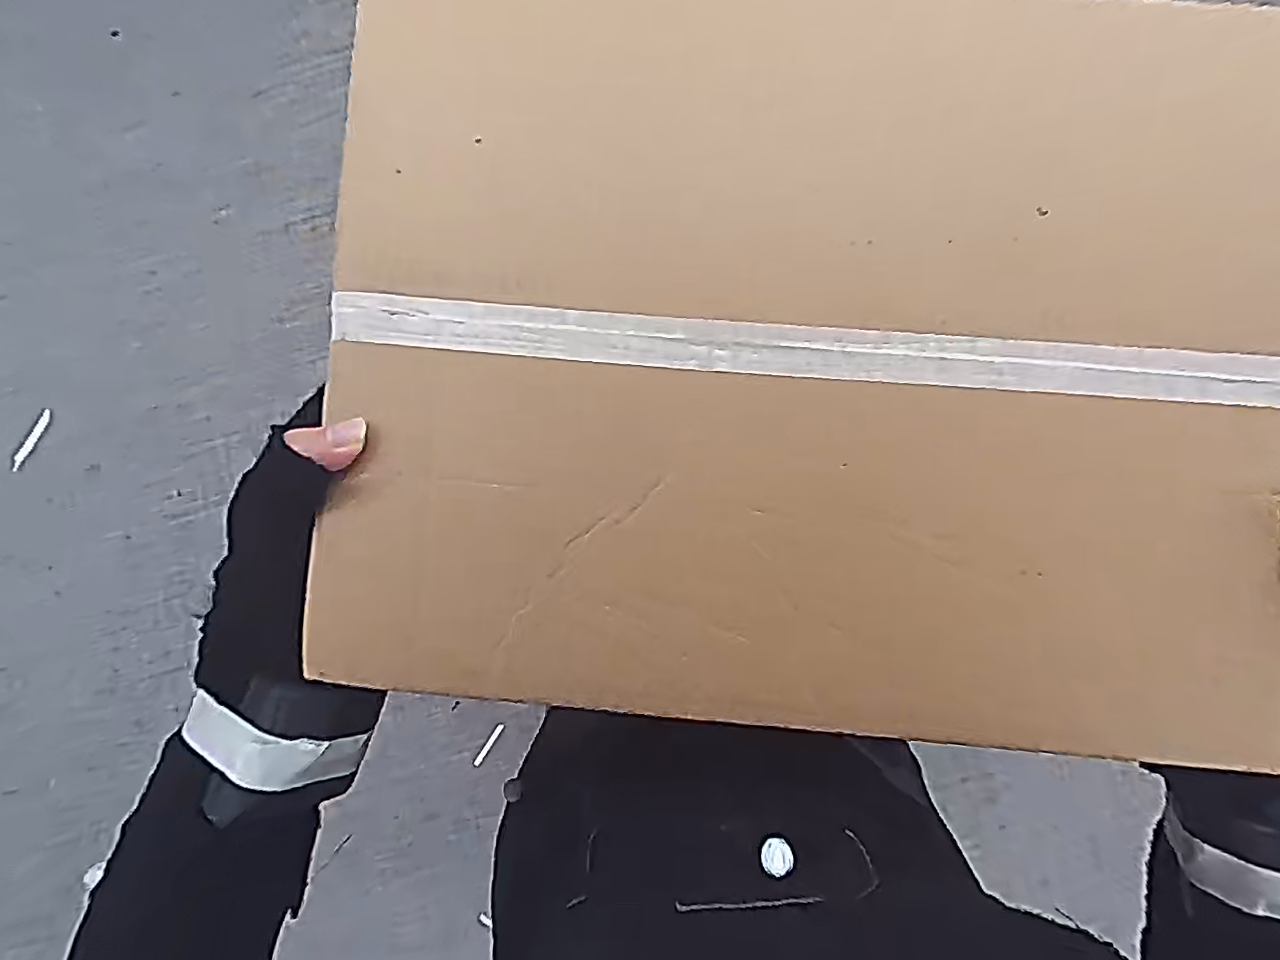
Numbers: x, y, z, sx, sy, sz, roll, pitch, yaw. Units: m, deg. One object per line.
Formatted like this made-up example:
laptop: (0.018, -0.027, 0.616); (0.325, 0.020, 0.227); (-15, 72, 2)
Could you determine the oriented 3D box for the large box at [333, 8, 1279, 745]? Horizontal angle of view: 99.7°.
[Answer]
large box: (0.074, -0.049, 0.387); (0.408, 0.320, 0.320); (4, 89, 2)
